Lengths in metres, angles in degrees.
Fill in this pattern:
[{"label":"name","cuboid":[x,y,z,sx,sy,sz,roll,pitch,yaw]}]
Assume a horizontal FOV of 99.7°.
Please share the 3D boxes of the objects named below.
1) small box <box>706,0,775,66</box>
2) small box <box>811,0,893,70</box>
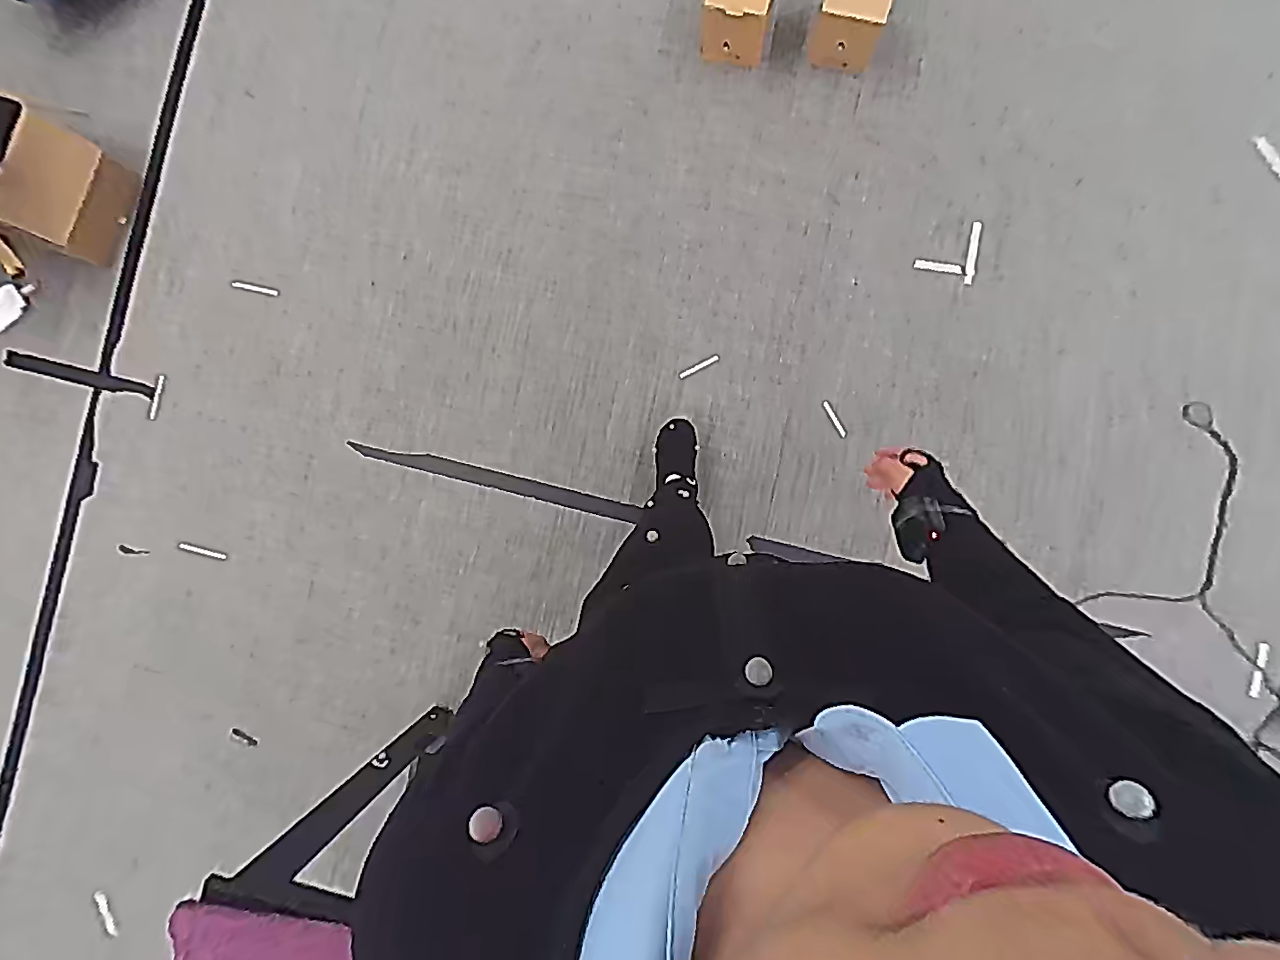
[{"label":"small box","cuboid":[0.275,-1.284,1.465,0.168,0.176,0.179,14,89,6]},{"label":"small box","cuboid":[0.569,-1.243,1.436,0.168,0.176,0.179,17,89,5]}]
